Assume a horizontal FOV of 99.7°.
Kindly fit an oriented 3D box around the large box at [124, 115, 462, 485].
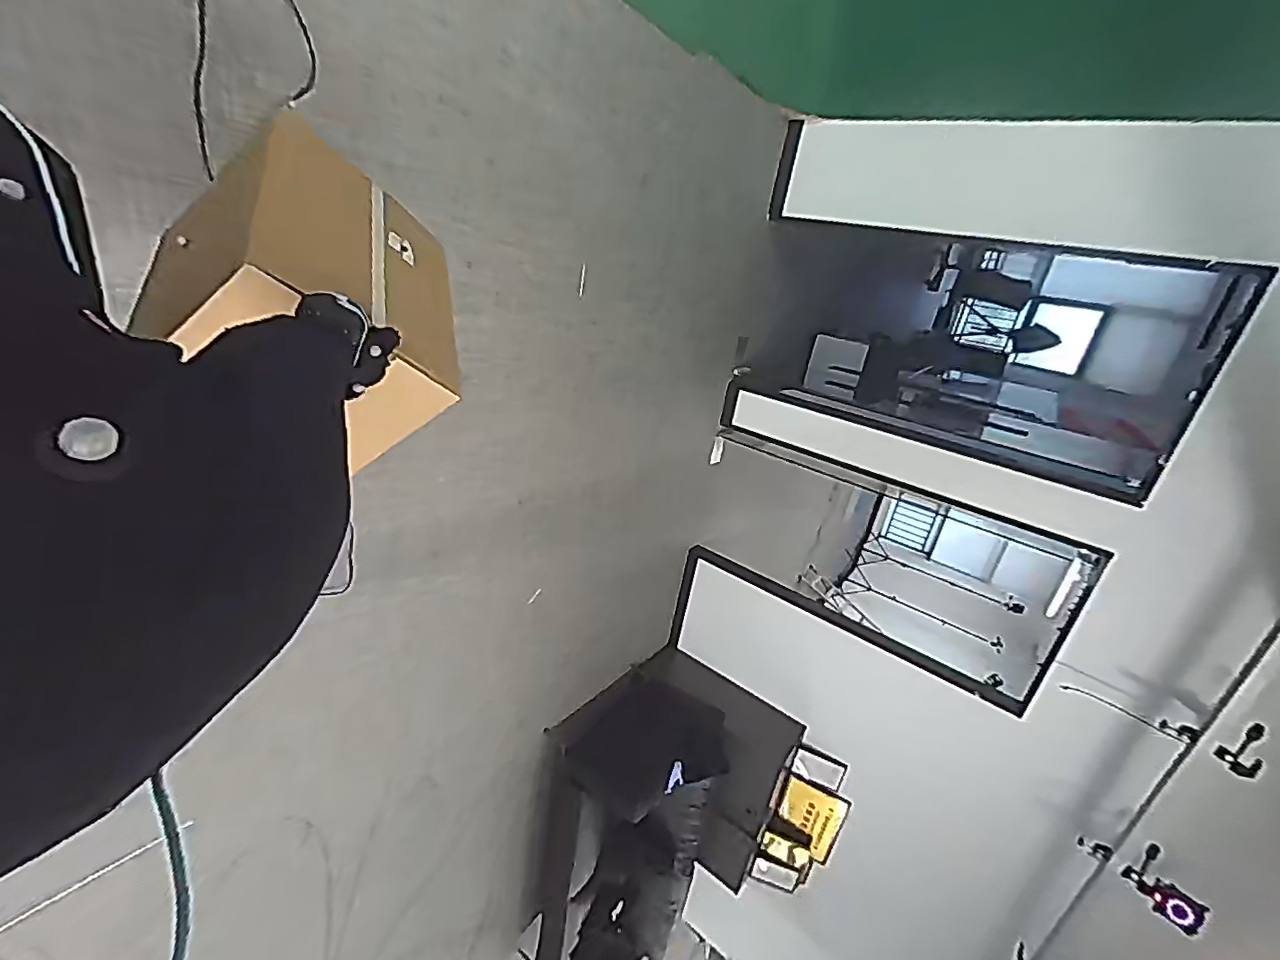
[{"bbox_3d":[-0.528,-0.264,0.872,0.320,0.408,0.320,-29,146,17],"label":"large box"}]
